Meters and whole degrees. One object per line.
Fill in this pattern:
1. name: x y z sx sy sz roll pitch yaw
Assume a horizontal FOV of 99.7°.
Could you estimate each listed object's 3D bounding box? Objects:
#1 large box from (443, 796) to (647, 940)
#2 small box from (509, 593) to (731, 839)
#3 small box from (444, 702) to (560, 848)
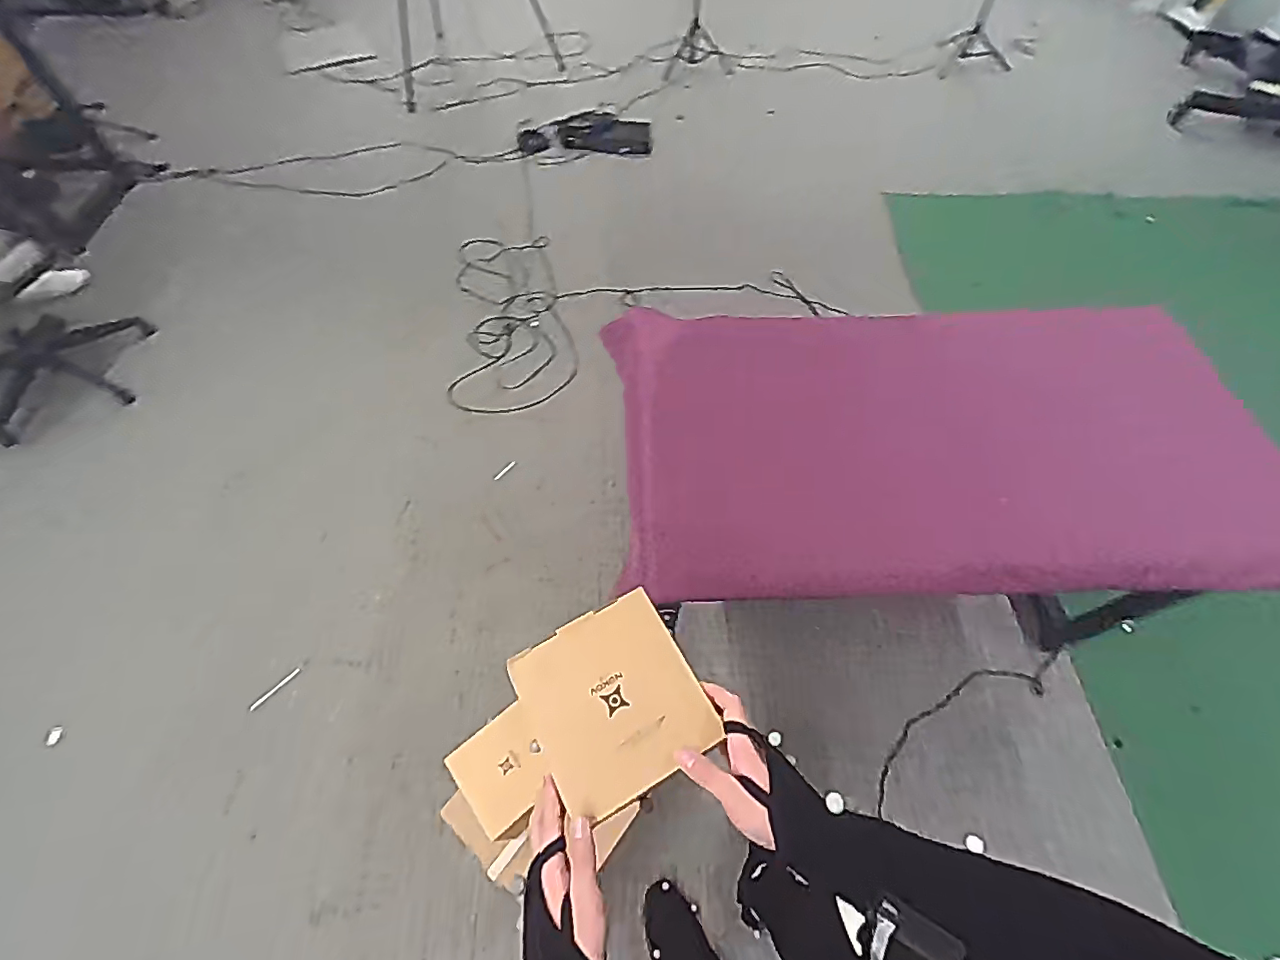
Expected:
1. large box: -0.155 0.698 1.221 0.320 0.320 0.408 34 63 18
2. small box: -0.023 0.259 0.594 0.168 0.176 0.179 -25 62 -13
3. small box: -0.231 0.558 1.021 0.179 0.176 0.168 -35 62 -21
